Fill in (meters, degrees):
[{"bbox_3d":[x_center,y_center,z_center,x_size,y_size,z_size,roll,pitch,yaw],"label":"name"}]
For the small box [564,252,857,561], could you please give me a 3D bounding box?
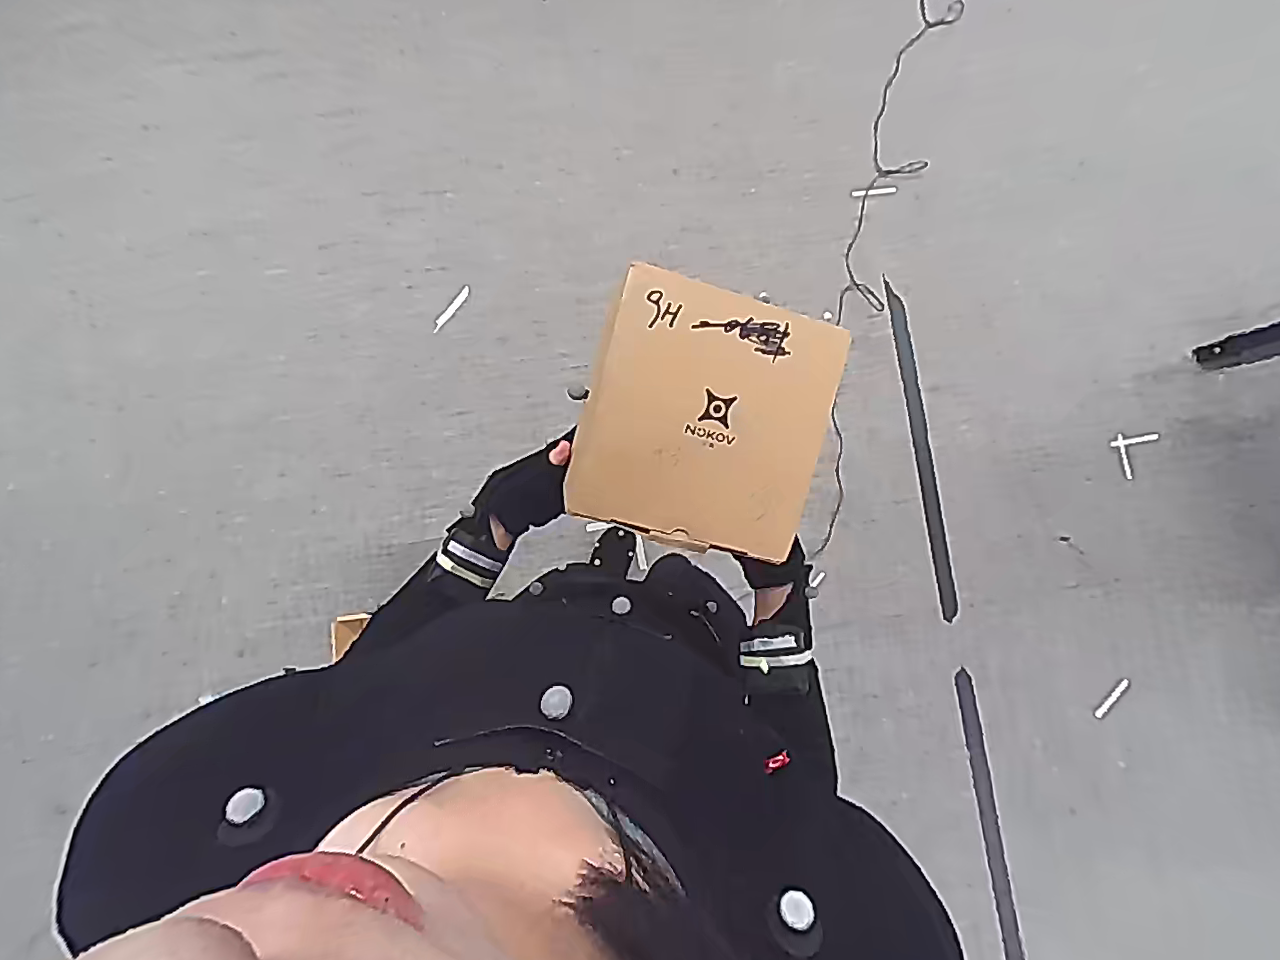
[{"bbox_3d":[0.040,-0.055,0.446,0.168,0.176,0.179,15,96,-10],"label":"small box"}]
